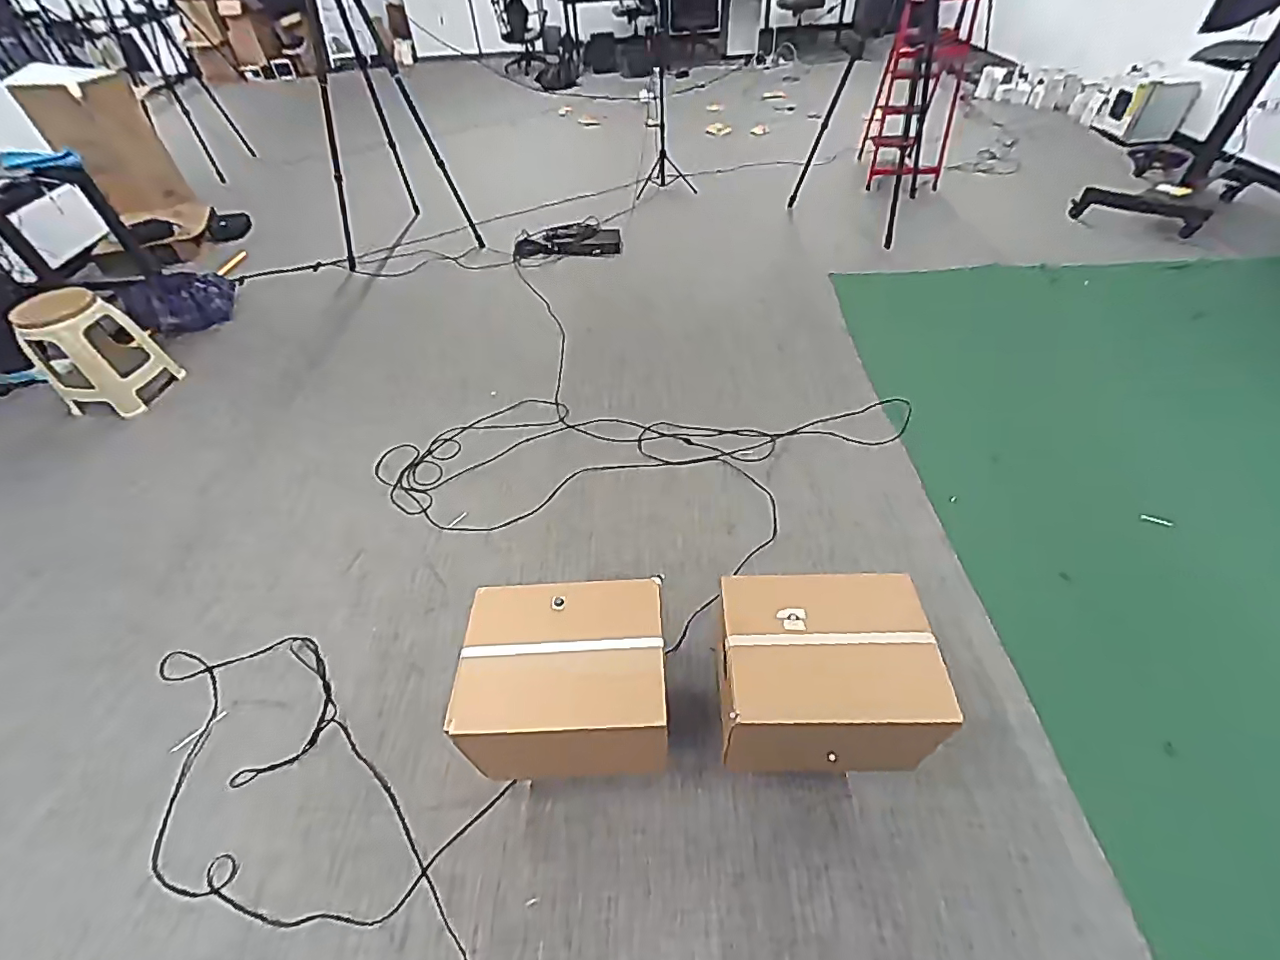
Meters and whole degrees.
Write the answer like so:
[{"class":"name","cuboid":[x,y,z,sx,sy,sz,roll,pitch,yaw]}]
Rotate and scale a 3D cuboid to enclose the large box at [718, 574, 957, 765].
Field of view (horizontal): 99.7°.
[{"class":"large box","cuboid":[0.389,0.424,1.191,0.408,0.320,0.320,-2,47,3]}]
